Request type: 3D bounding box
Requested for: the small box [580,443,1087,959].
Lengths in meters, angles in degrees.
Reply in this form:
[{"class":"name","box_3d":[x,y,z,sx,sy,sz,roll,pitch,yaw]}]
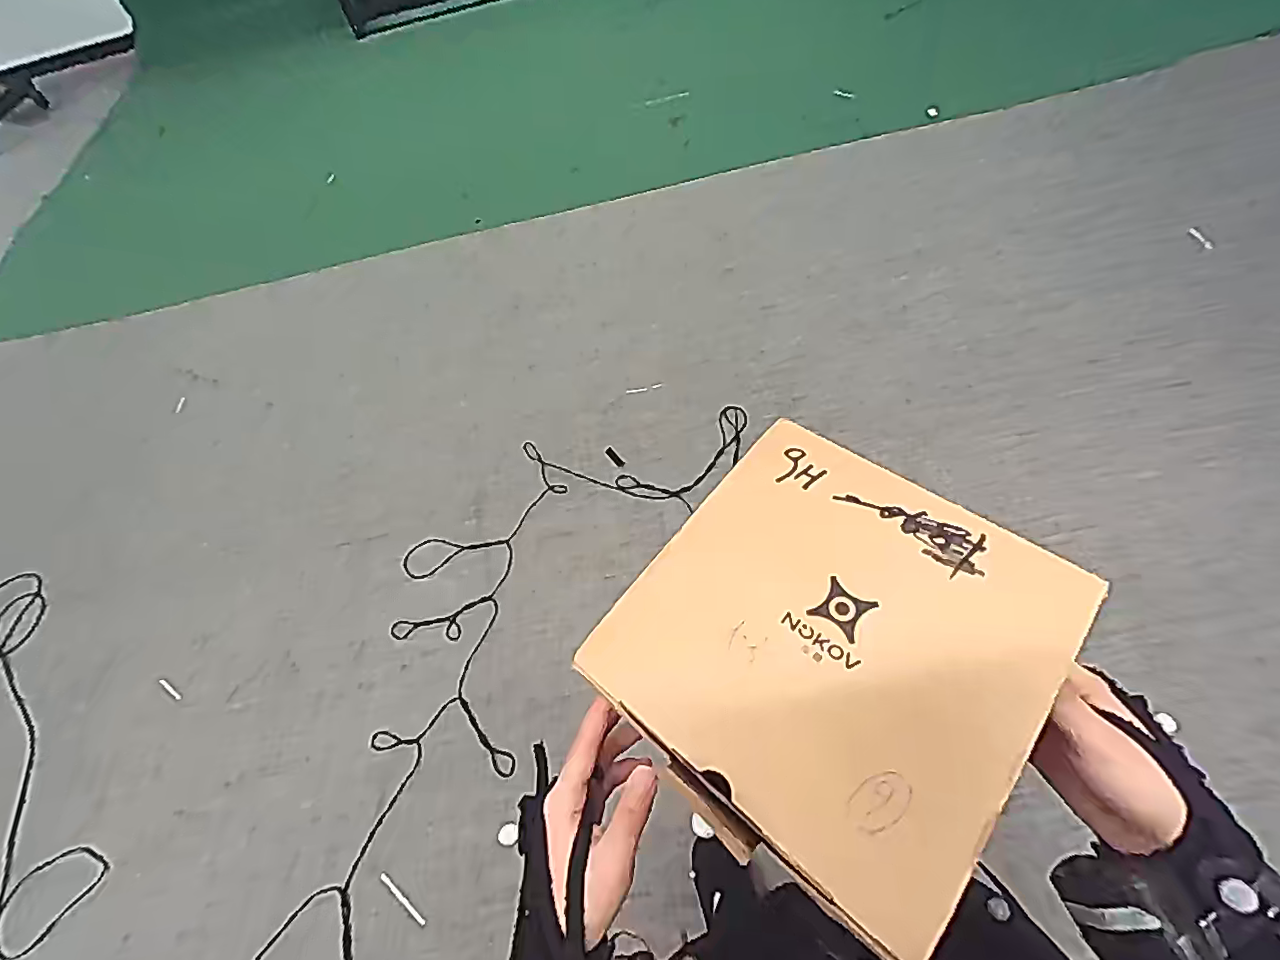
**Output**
[{"class":"small box","box_3d":[0.097,0.119,0.315,0.168,0.176,0.179,33,68,27]}]
